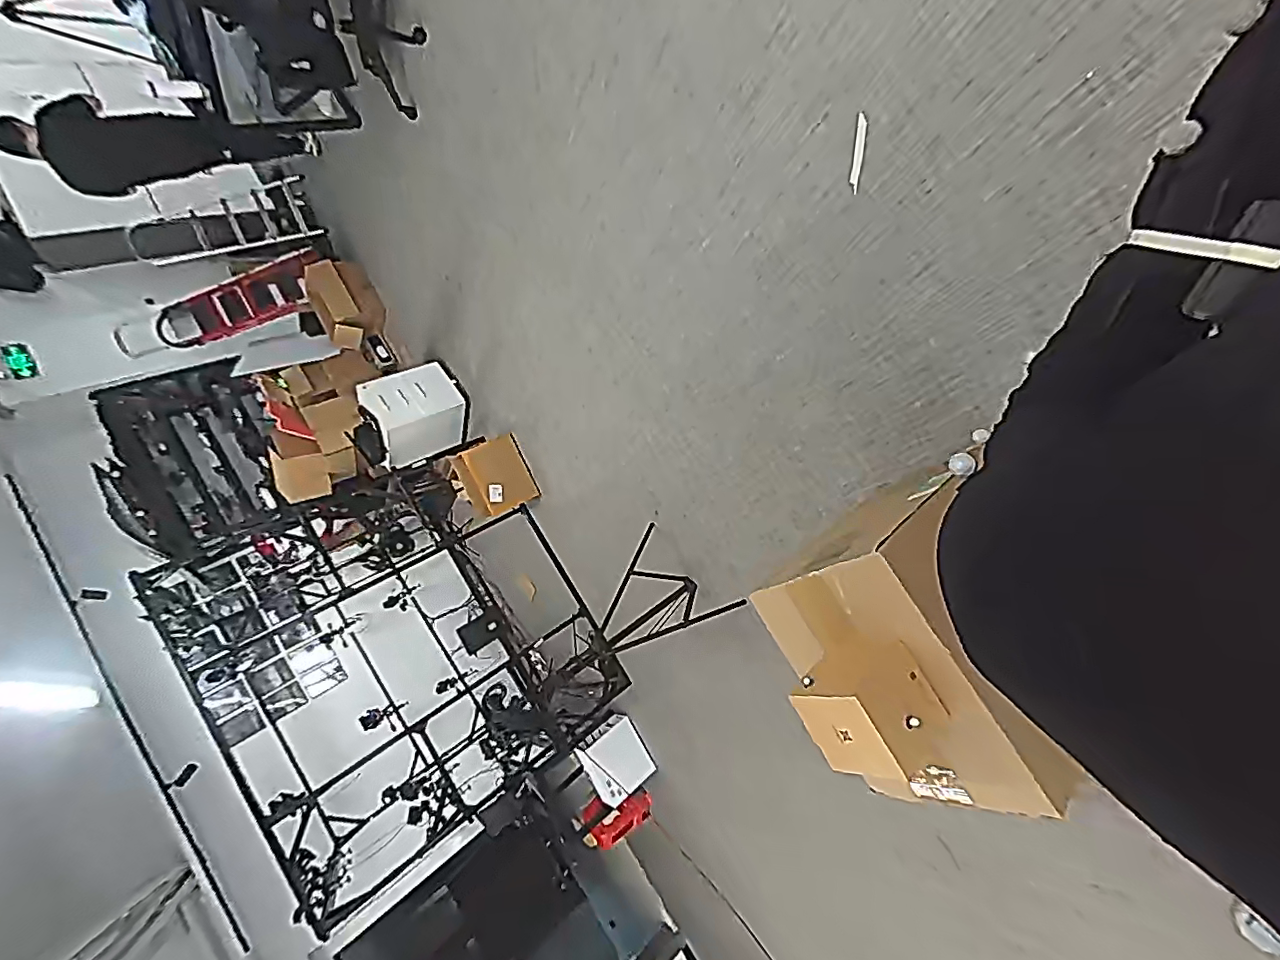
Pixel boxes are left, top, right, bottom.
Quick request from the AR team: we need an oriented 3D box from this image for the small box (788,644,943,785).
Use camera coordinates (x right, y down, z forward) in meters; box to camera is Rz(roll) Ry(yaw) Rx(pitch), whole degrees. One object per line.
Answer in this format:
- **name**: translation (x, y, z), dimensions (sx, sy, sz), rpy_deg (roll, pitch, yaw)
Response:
- **small box**: translation (0.415, 0.415, 0.983), dimensions (0.168, 0.176, 0.179), rpy_deg (58, 148, 4)
